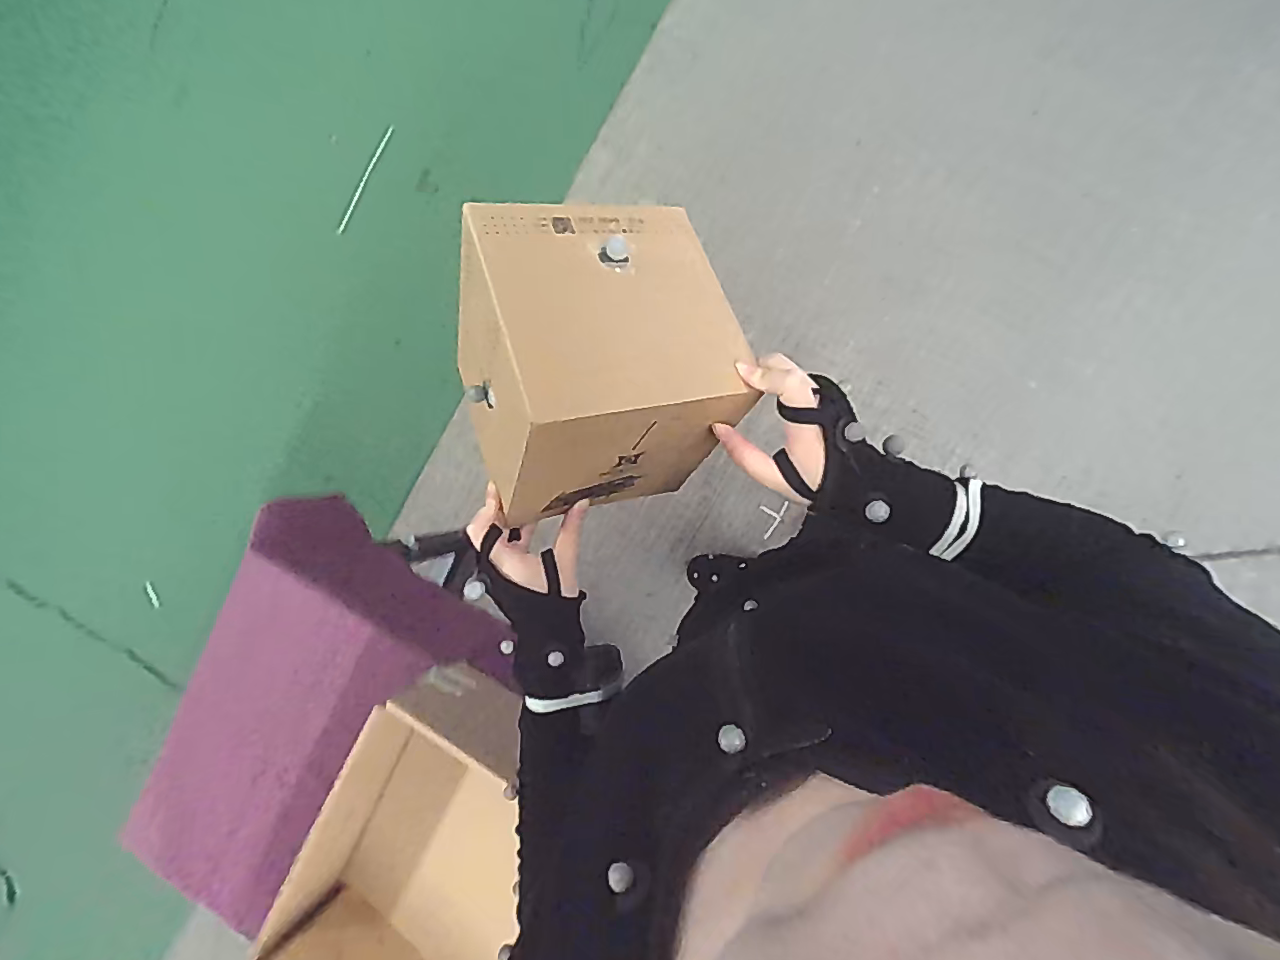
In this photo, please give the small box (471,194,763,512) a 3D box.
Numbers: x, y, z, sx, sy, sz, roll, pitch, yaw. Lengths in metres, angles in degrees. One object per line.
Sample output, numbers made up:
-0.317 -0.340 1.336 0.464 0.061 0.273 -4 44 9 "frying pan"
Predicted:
-0.035 -0.093 0.437 0.168 0.179 0.176 -11 69 -23 "small box"
